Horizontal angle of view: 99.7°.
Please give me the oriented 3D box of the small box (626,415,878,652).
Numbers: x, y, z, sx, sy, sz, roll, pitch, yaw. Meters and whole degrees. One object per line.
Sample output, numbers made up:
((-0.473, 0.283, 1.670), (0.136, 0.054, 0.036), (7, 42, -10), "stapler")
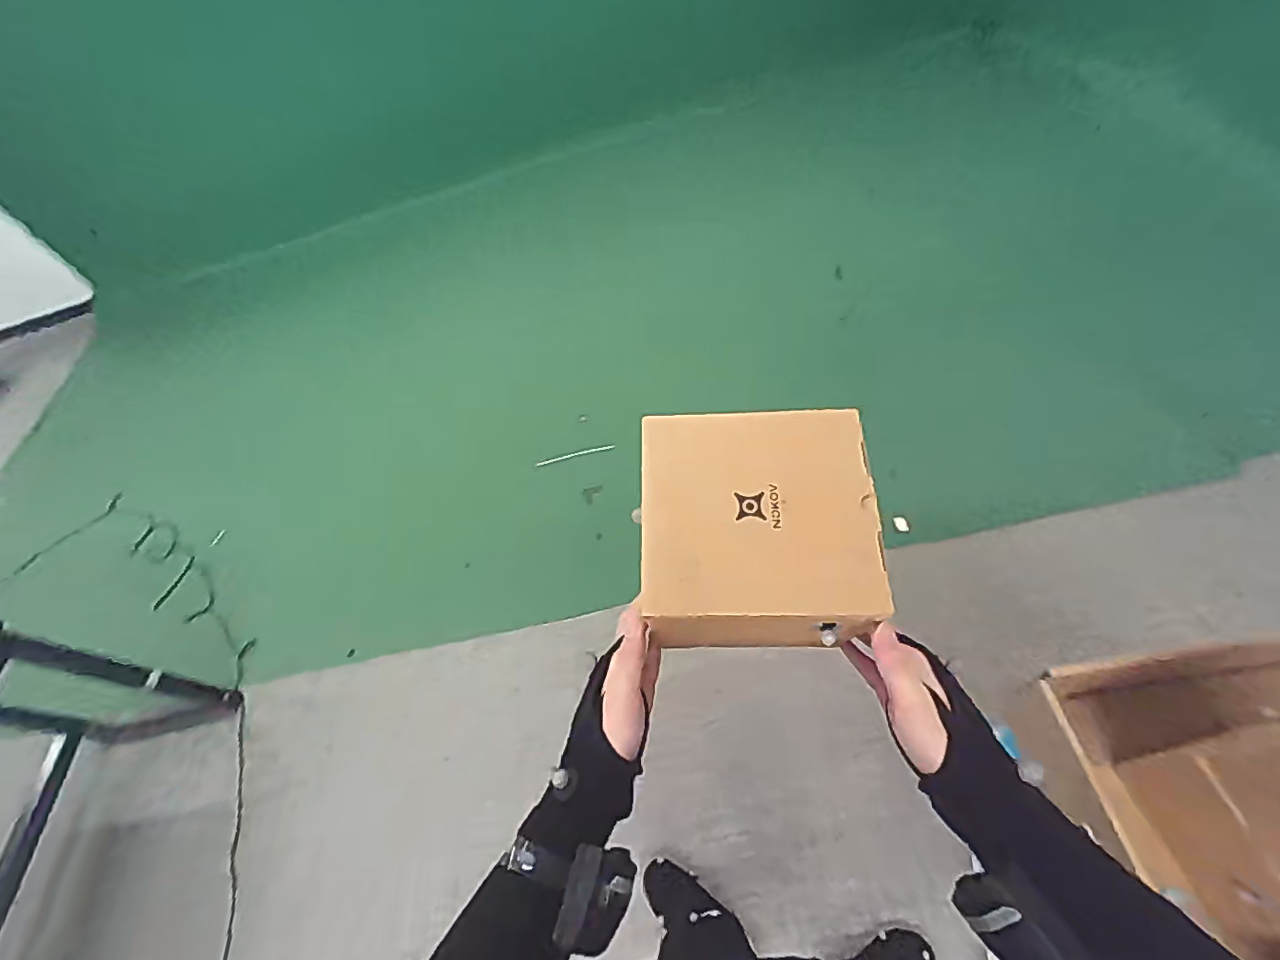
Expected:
((0.084, 0.058, 0.479), (0.179, 0.176, 0.168), (-2, 66, 4), "small box")

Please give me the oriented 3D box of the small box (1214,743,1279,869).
((0.690, 0.311, 0.472), (0.168, 0.176, 0.179), (-16, 55, 4), "small box")
